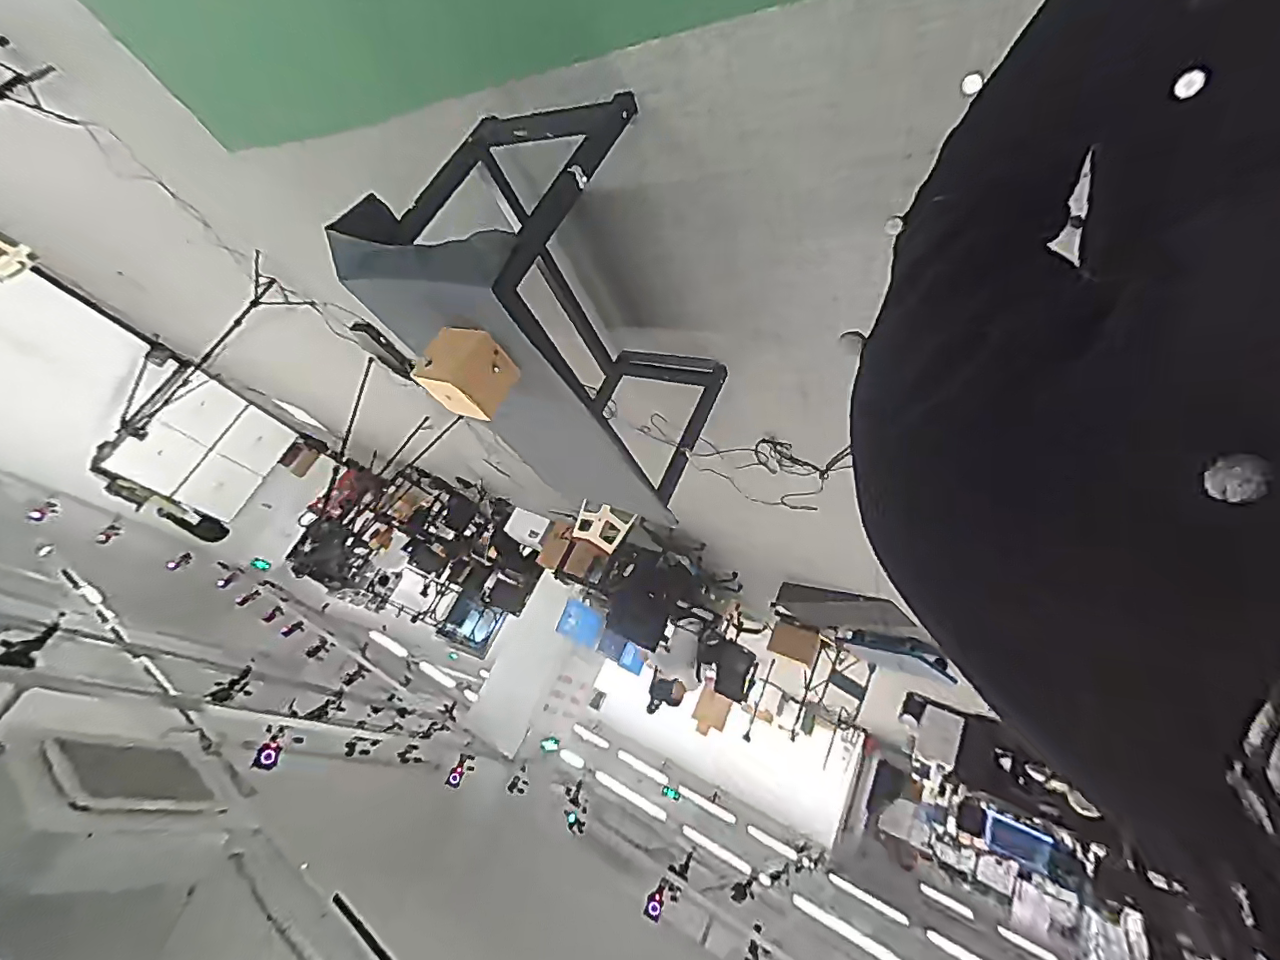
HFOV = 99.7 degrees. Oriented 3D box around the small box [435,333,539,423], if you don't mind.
[{"bbox_3d":[-0.409,-0.281,1.465,0.179,0.176,0.168,14,159,34],"label":"small box"}]
